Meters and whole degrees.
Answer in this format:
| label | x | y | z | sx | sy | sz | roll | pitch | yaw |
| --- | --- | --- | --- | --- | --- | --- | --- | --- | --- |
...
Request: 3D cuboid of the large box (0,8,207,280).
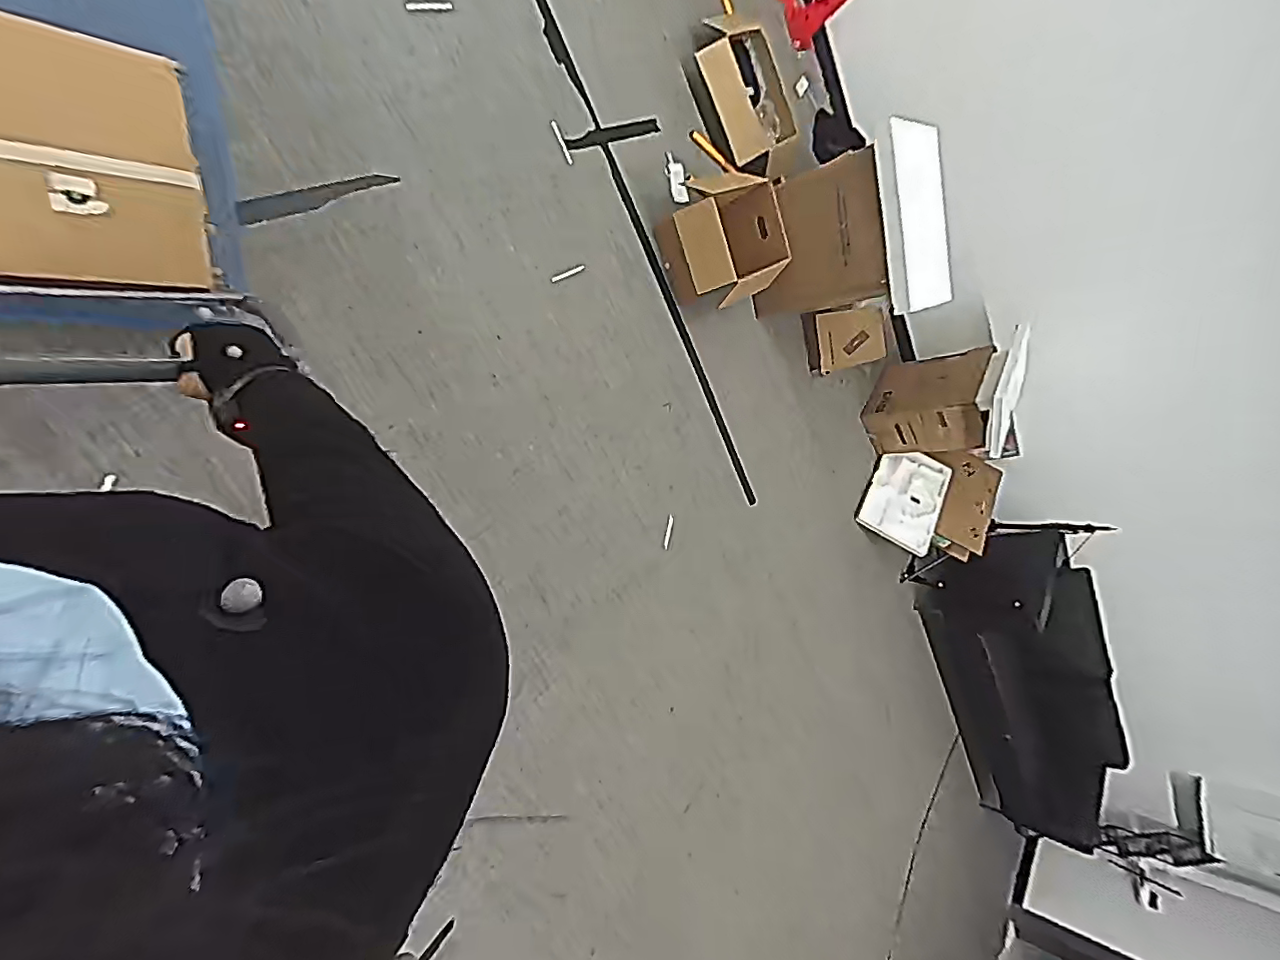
| label | x | y | z | sx | sy | sz | roll | pitch | yaw |
| --- | --- | --- | --- | --- | --- | --- | --- | --- | --- |
| large box | -0.937 | -0.471 | 0.792 | 0.408 | 0.320 | 0.320 | -13 | 114 | -43 |
